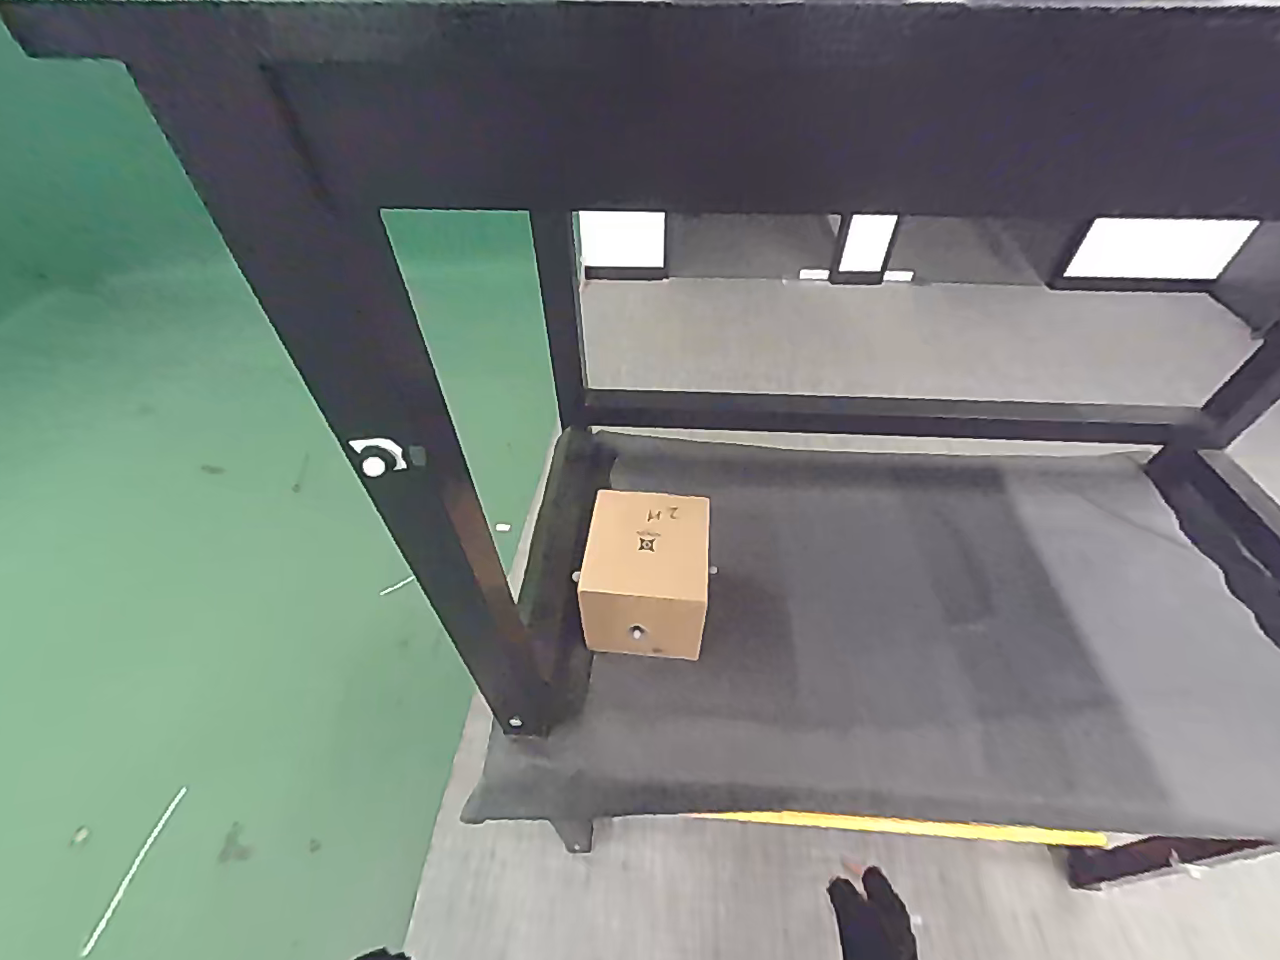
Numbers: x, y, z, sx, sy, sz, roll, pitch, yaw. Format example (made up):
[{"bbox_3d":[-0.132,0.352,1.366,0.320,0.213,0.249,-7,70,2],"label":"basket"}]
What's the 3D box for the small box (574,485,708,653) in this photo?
[{"bbox_3d":[0.008,0.131,0.782,0.168,0.176,0.179,5,47,4],"label":"small box"}]
